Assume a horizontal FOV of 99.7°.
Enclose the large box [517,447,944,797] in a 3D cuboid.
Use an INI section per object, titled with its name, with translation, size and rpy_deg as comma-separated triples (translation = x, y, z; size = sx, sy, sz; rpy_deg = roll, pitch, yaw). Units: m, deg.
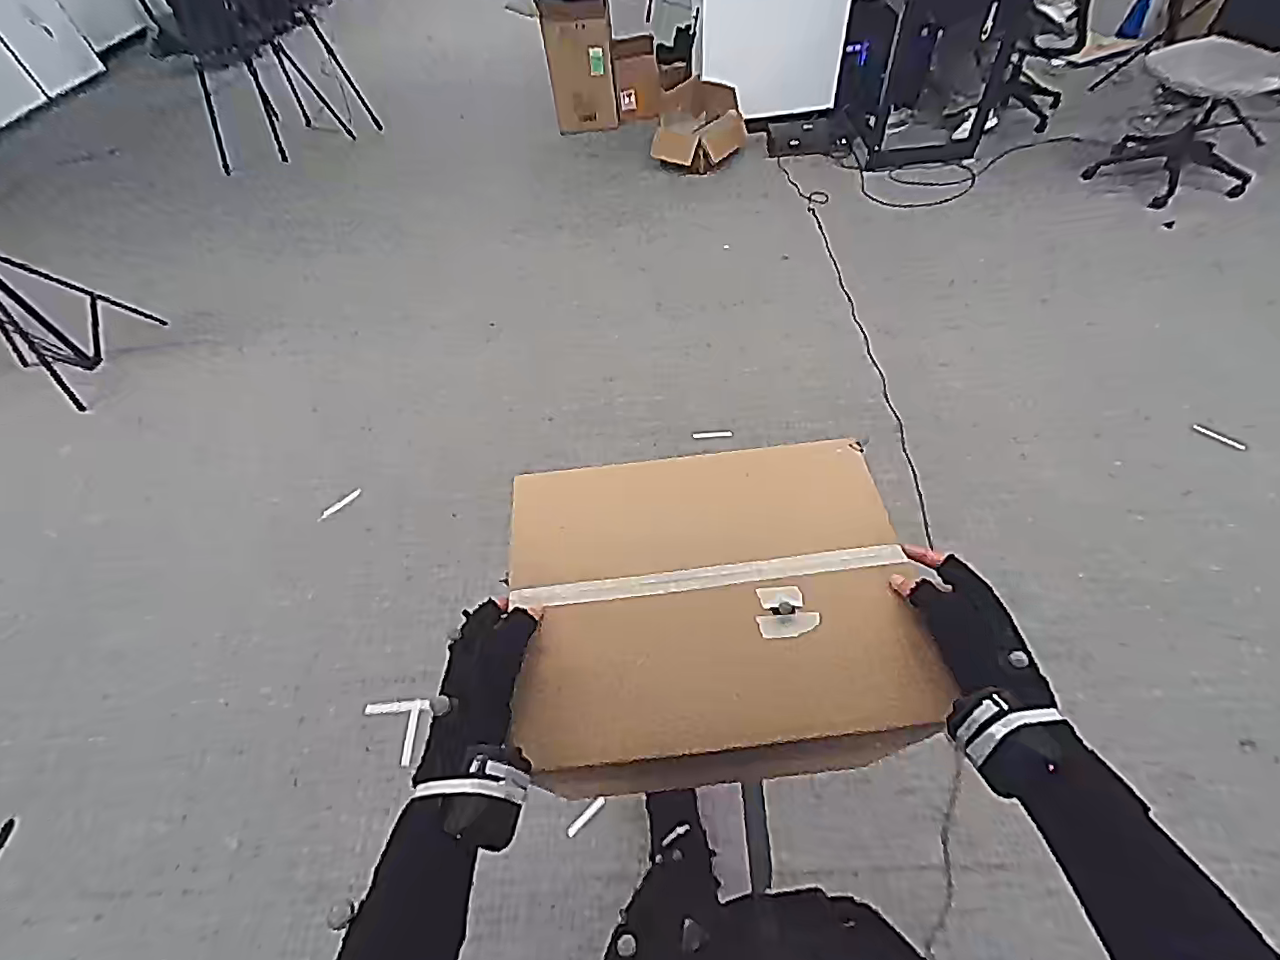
[large box]
translation = 0.074, 0.192, 0.694
size = 0.408, 0.320, 0.320
rpy_deg = -7, 56, -1
